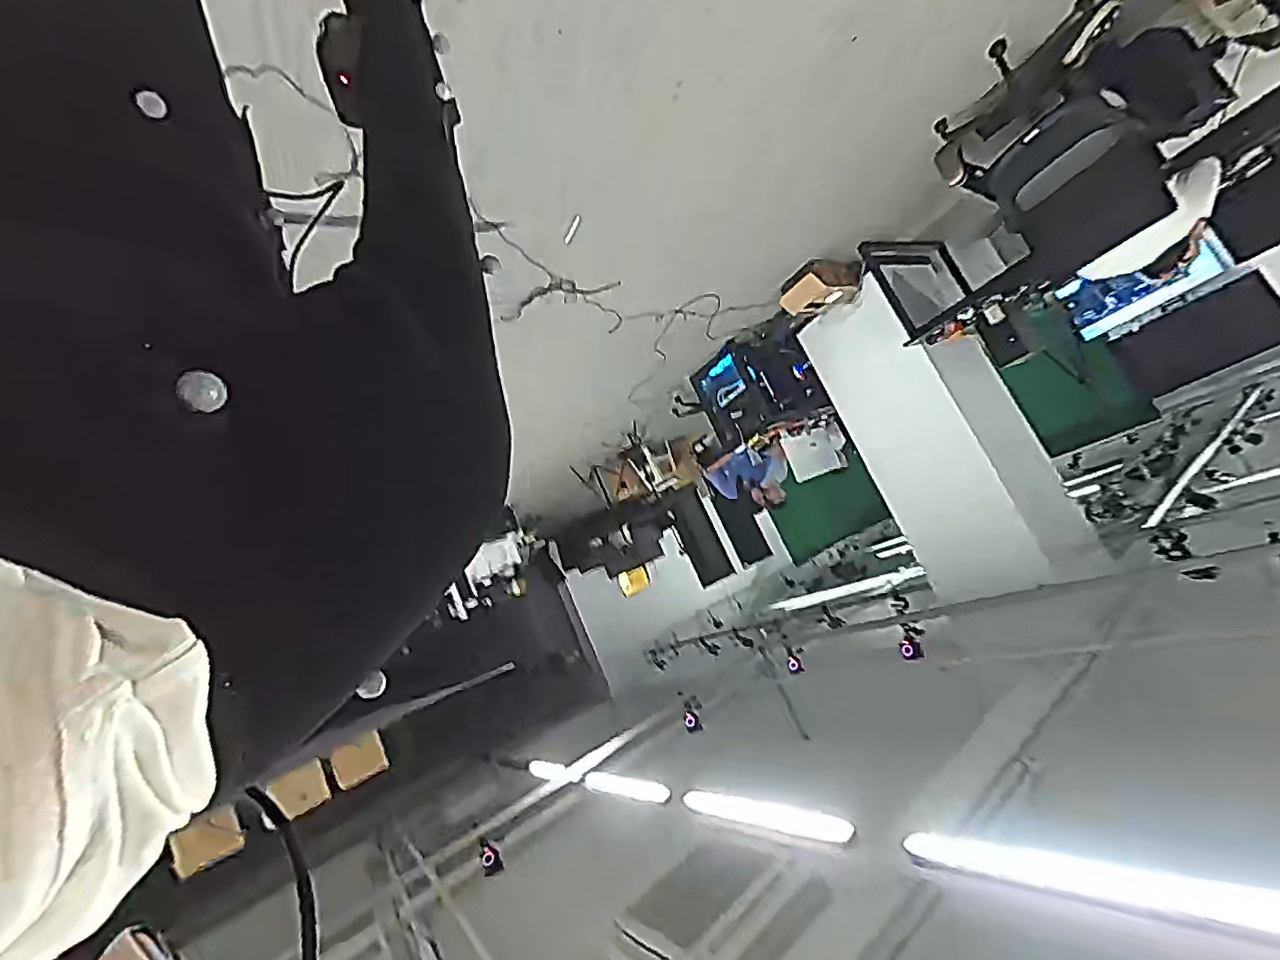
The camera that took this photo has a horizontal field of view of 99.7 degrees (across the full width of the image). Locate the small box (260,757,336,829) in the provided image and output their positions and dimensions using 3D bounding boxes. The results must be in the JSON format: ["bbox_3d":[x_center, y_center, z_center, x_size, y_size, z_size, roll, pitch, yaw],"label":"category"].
[{"bbox_3d":[-1.265,1.151,1.996,0.168,0.176,0.179,-33,167,37],"label":"small box"}]

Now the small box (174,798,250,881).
[{"bbox_3d":[-1.431,1.192,1.812,0.168,0.176,0.179,-17,167,-41],"label":"small box"}]
